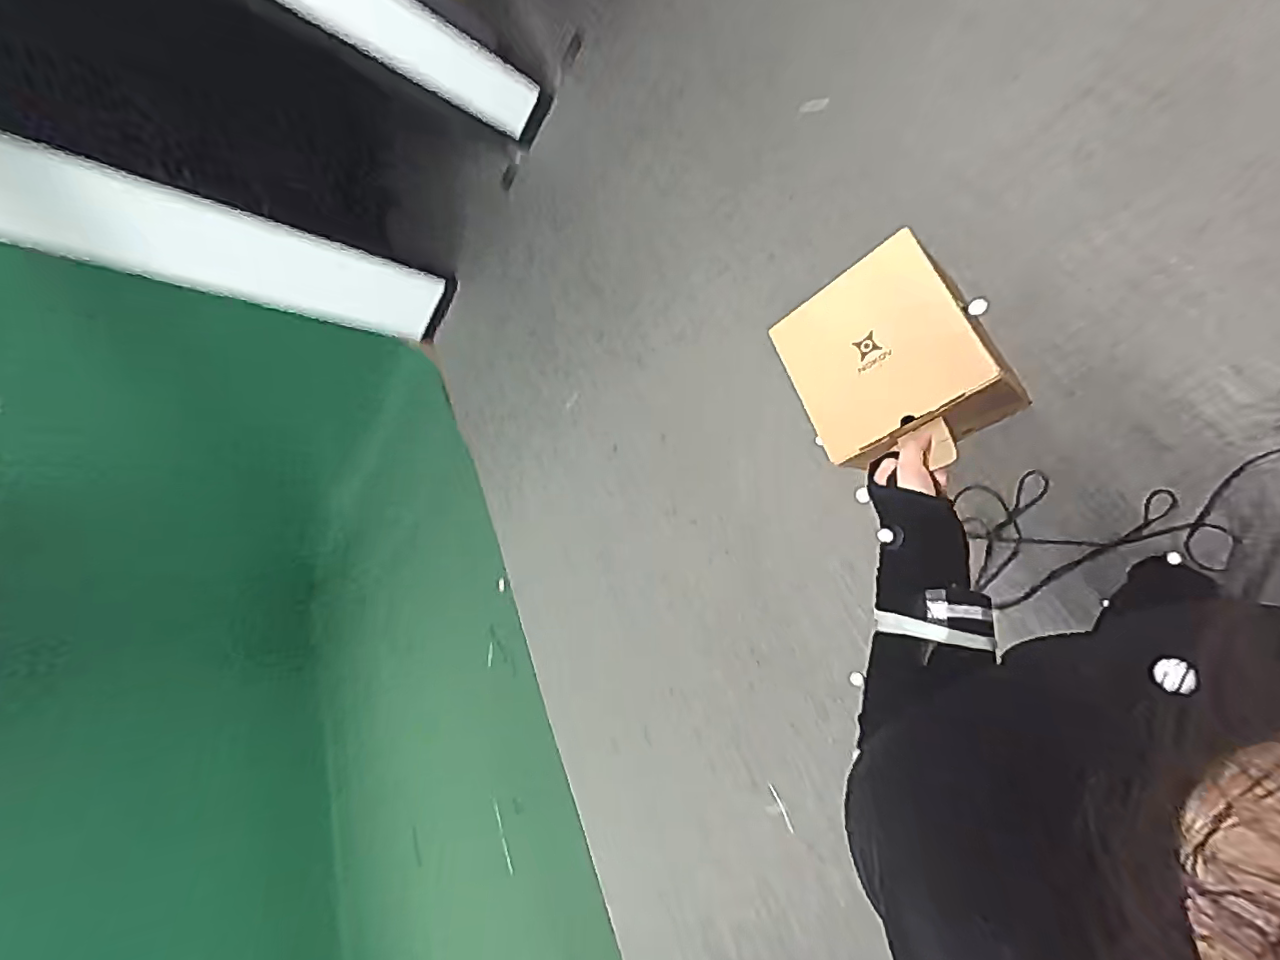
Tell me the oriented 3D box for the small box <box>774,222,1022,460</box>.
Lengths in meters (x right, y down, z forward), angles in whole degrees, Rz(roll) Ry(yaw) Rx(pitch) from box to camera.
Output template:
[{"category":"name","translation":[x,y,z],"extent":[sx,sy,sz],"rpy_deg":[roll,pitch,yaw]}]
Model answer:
[{"category":"small box","translation":[0.284,-0.134,0.597],"extent":[0.168,0.176,0.179],"rpy_deg":[-33,68,37]}]
